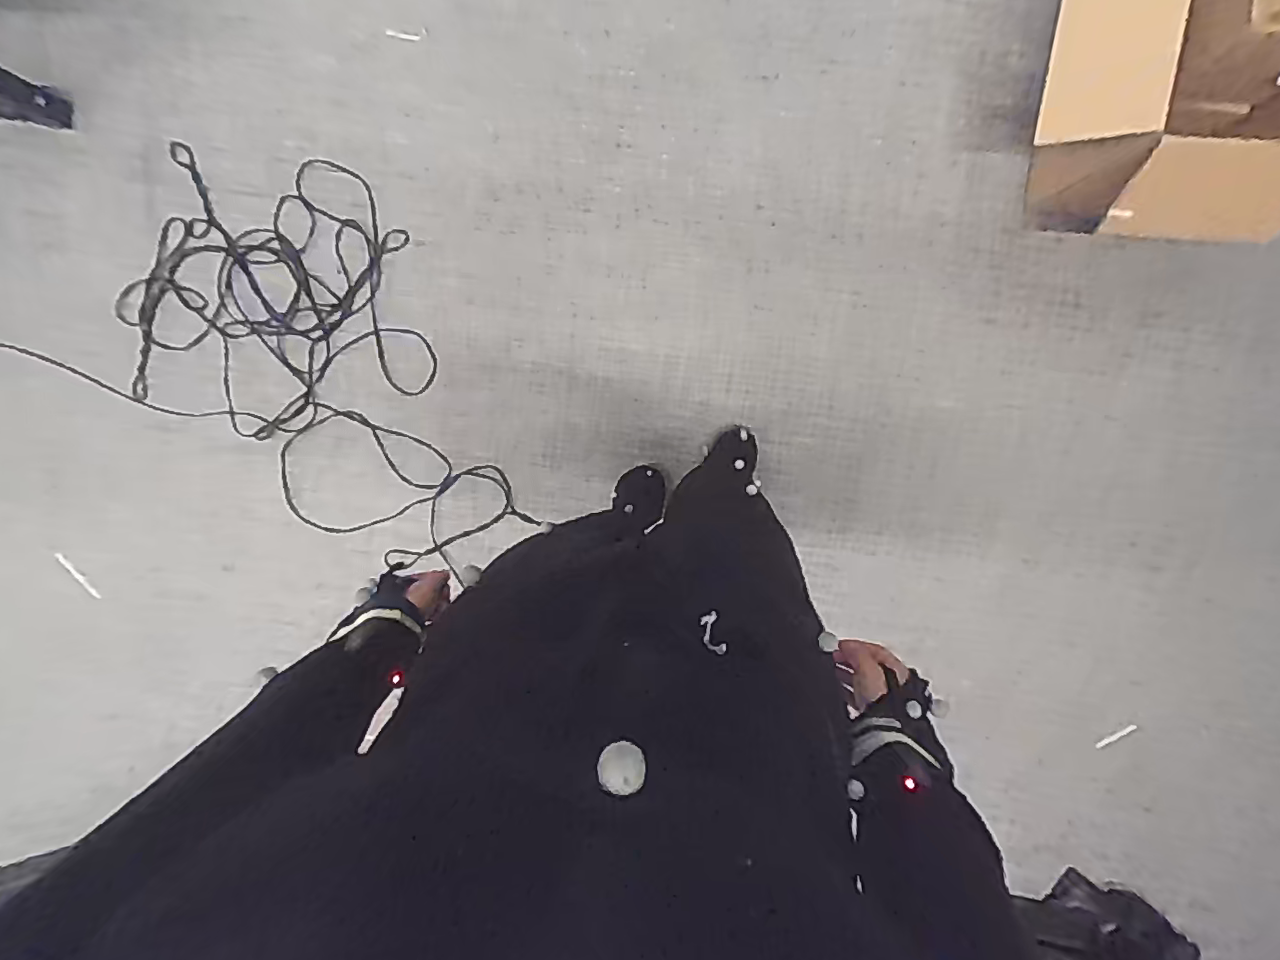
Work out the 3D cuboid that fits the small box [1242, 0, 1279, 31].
[{"bbox_3d":[0.911,-0.694,0.662,0.179,0.176,0.168,-1,95,0],"label":"small box"}]
